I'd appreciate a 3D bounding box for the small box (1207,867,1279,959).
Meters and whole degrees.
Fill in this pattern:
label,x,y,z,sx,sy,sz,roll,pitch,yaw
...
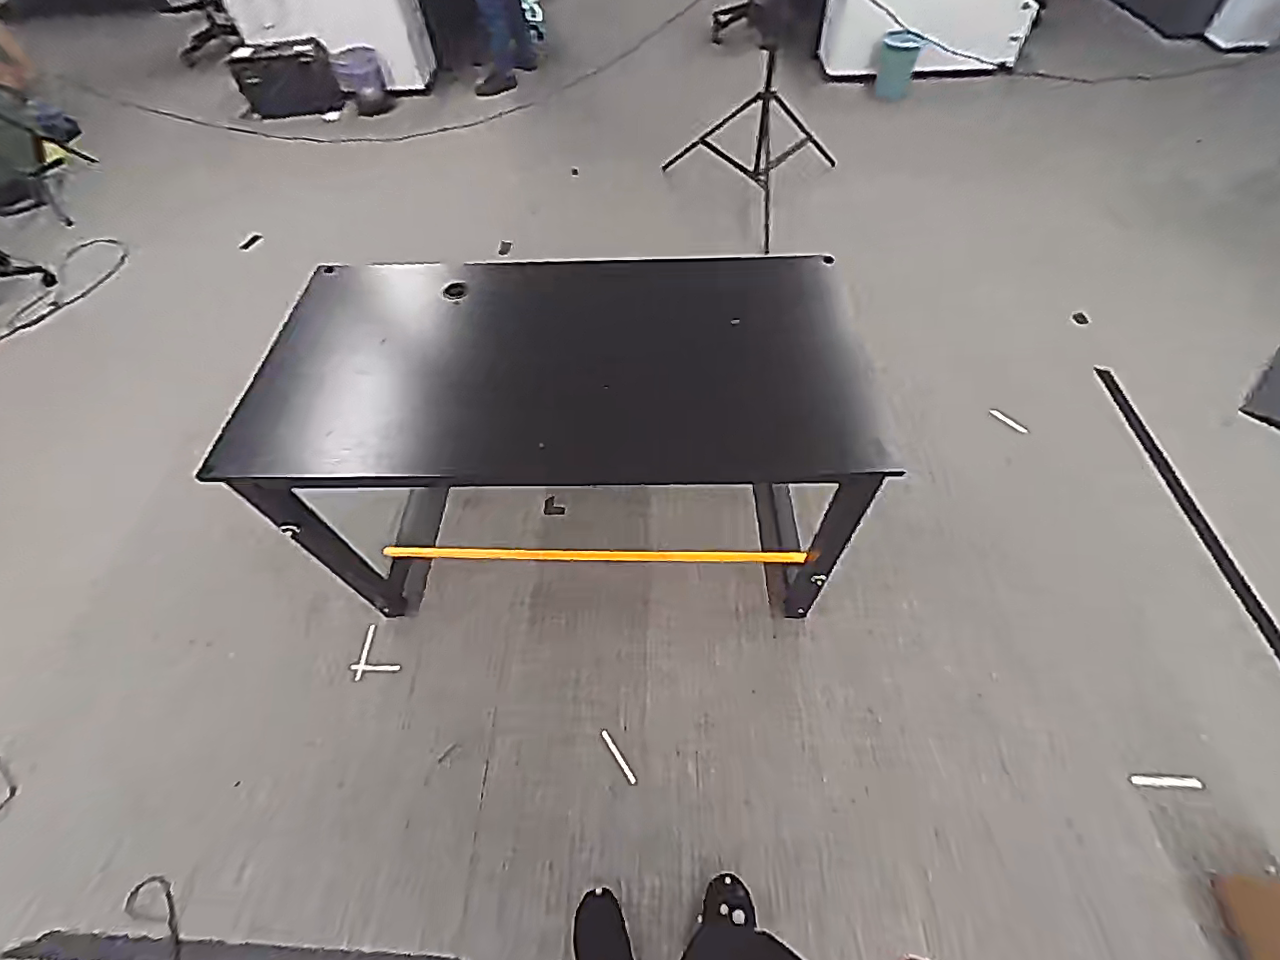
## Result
label,x,y,z,sx,sy,sz,roll,pitch,yaw
small box,1.280,0.860,1.040,0.168,0.176,0.179,1,56,3
